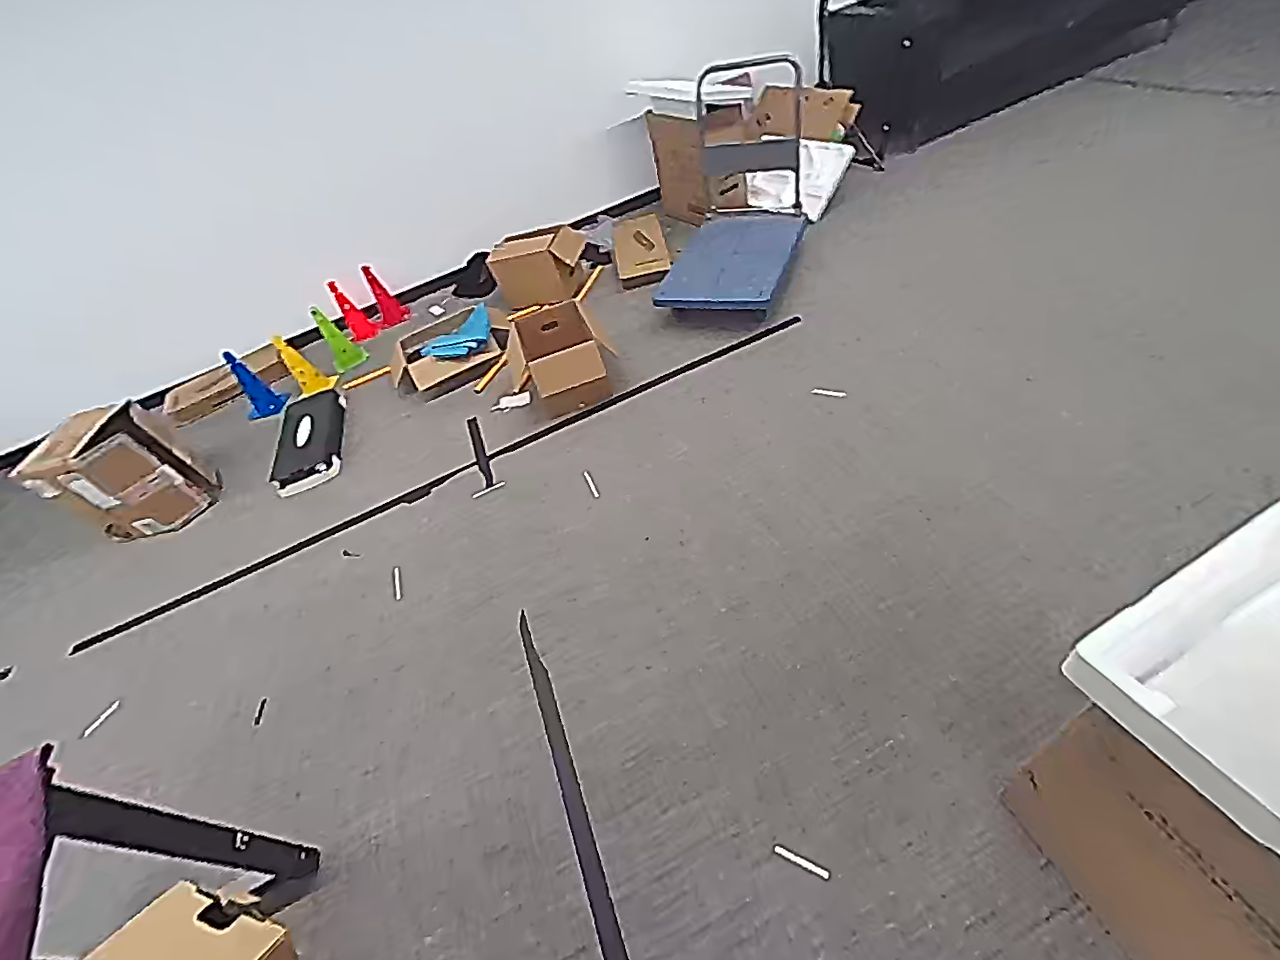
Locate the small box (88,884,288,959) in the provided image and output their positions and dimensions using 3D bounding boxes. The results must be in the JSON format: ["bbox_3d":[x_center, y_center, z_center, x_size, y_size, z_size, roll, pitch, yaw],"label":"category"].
[{"bbox_3d":[-0.396,0.494,0.441,0.168,0.176,0.179,-2,14,24],"label":"small box"}]
